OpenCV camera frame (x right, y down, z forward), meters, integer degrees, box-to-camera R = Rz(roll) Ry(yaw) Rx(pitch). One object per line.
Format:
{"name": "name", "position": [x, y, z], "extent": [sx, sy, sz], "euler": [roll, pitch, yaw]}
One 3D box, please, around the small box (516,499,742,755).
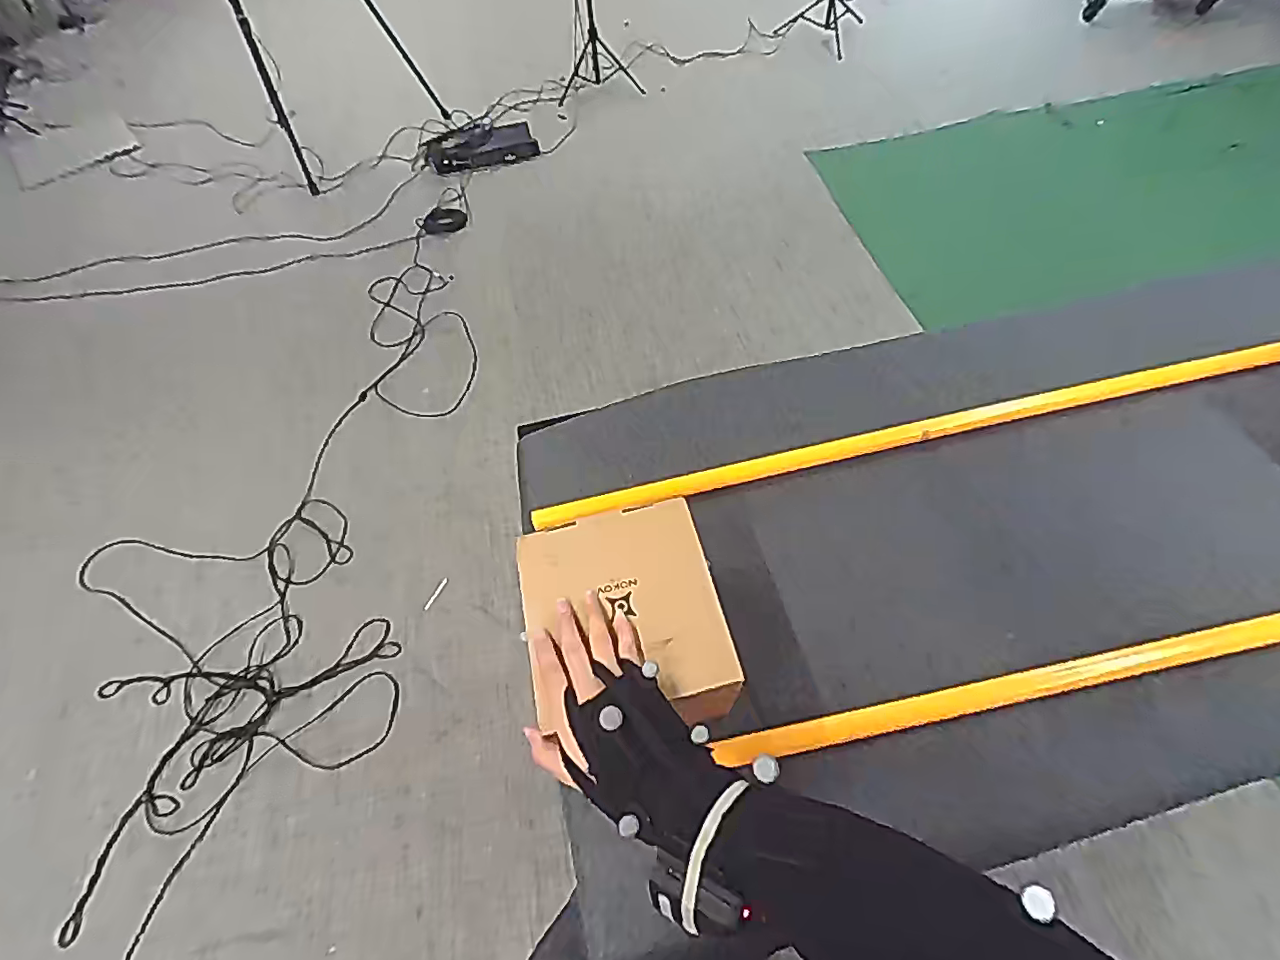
{"name": "small box", "position": [-0.013, 0.148, 0.527], "extent": [0.168, 0.176, 0.179], "euler": [-14, 58, -4]}
